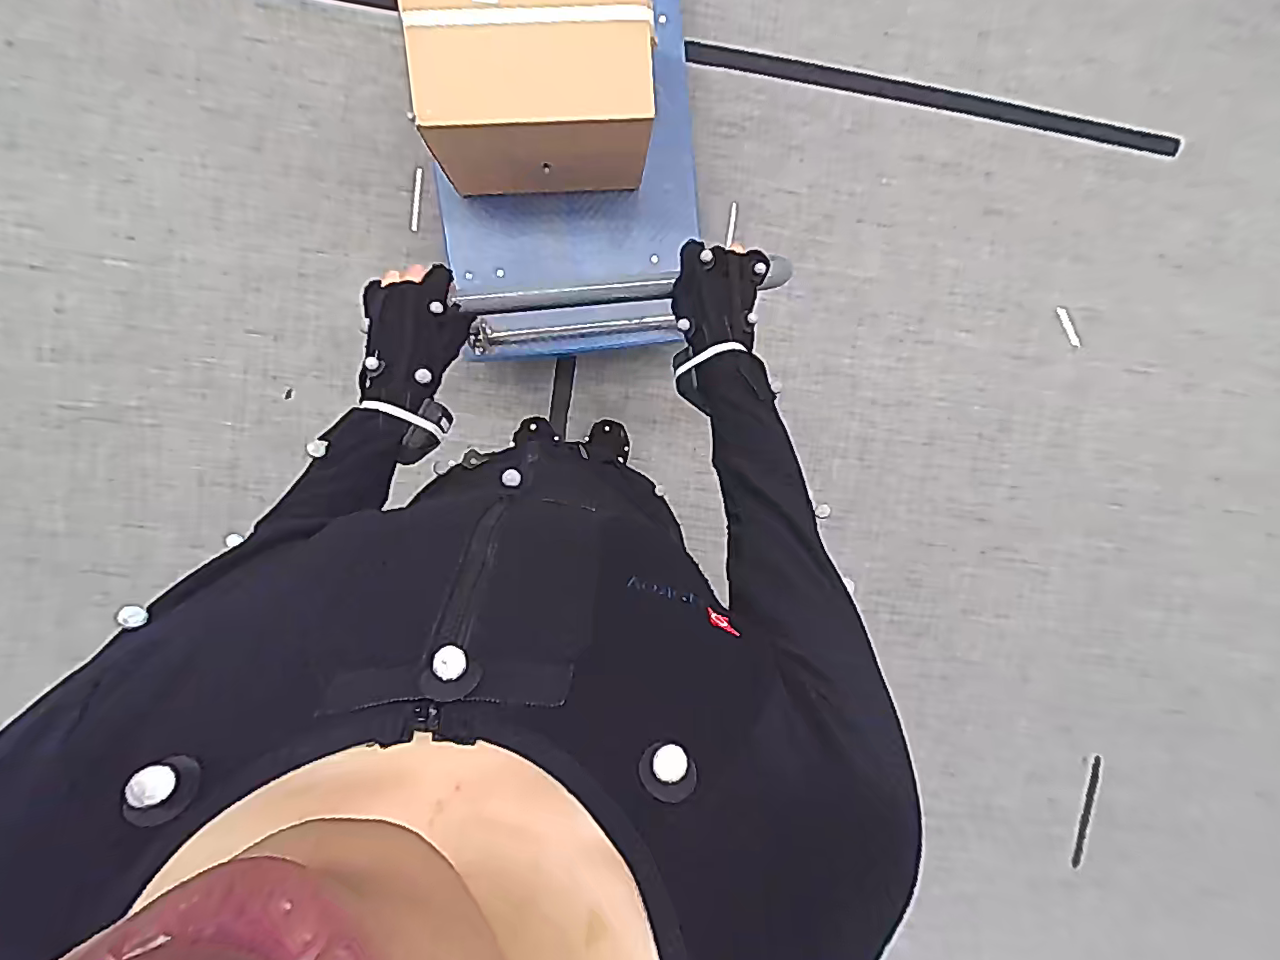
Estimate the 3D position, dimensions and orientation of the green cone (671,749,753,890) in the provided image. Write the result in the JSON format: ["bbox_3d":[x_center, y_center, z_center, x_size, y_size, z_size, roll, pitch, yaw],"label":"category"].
[{"bbox_3d":[0.223,0.929,1.449,0.202,0.368,0.200,11,96,-7],"label":"green cone"}]

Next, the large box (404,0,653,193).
[{"bbox_3d":[-0.196,-0.781,1.049,0.408,0.320,0.320,-5,98,-3],"label":"large box"}]
